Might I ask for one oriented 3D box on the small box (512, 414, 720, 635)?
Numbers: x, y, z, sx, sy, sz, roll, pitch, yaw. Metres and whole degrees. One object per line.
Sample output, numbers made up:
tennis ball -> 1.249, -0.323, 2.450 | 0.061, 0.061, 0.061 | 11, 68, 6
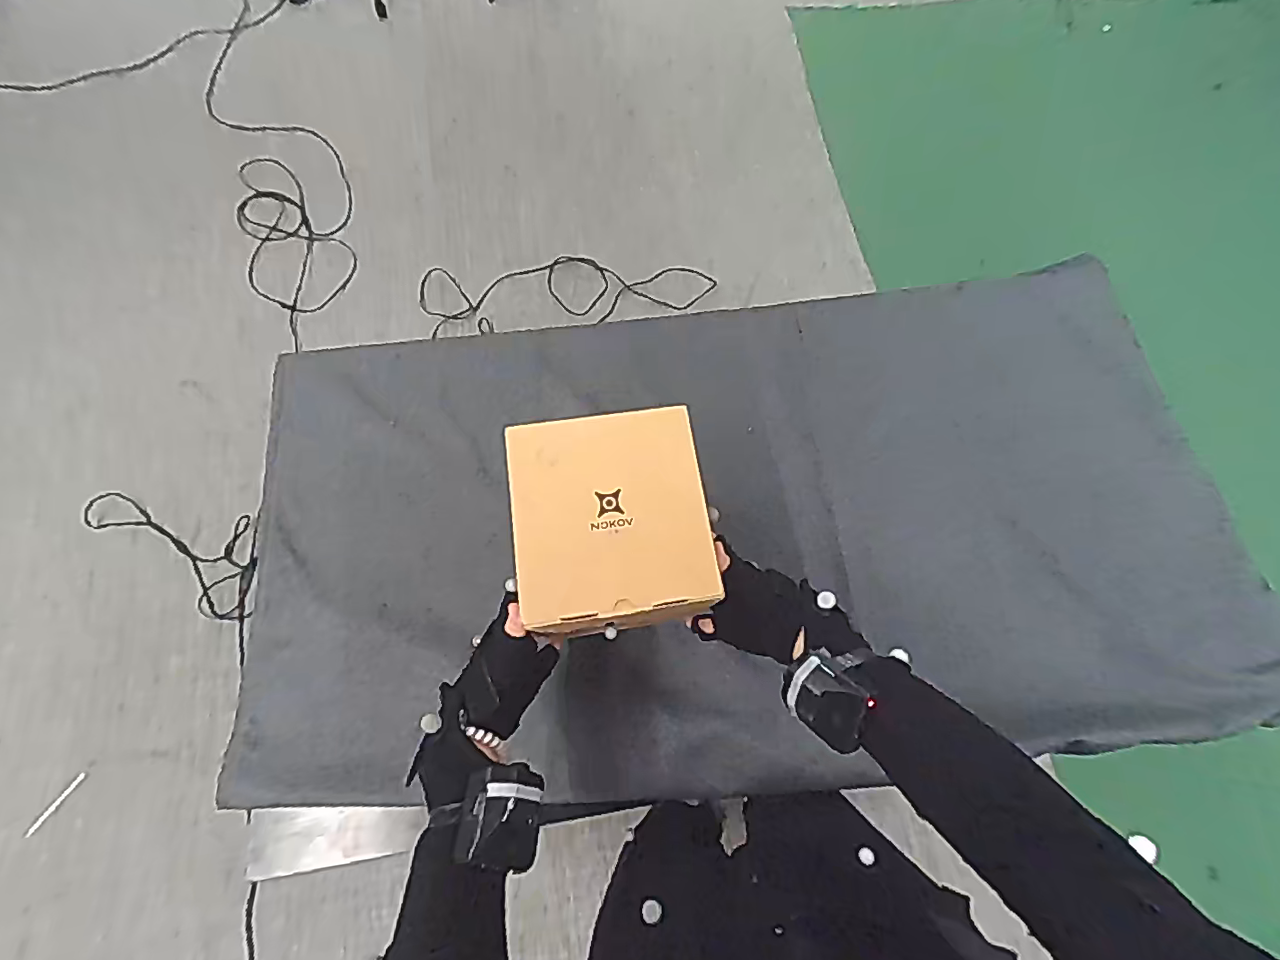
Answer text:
small box -> -0.030, 0.053, 0.545 | 0.168, 0.176, 0.179 | -7, 73, -6
